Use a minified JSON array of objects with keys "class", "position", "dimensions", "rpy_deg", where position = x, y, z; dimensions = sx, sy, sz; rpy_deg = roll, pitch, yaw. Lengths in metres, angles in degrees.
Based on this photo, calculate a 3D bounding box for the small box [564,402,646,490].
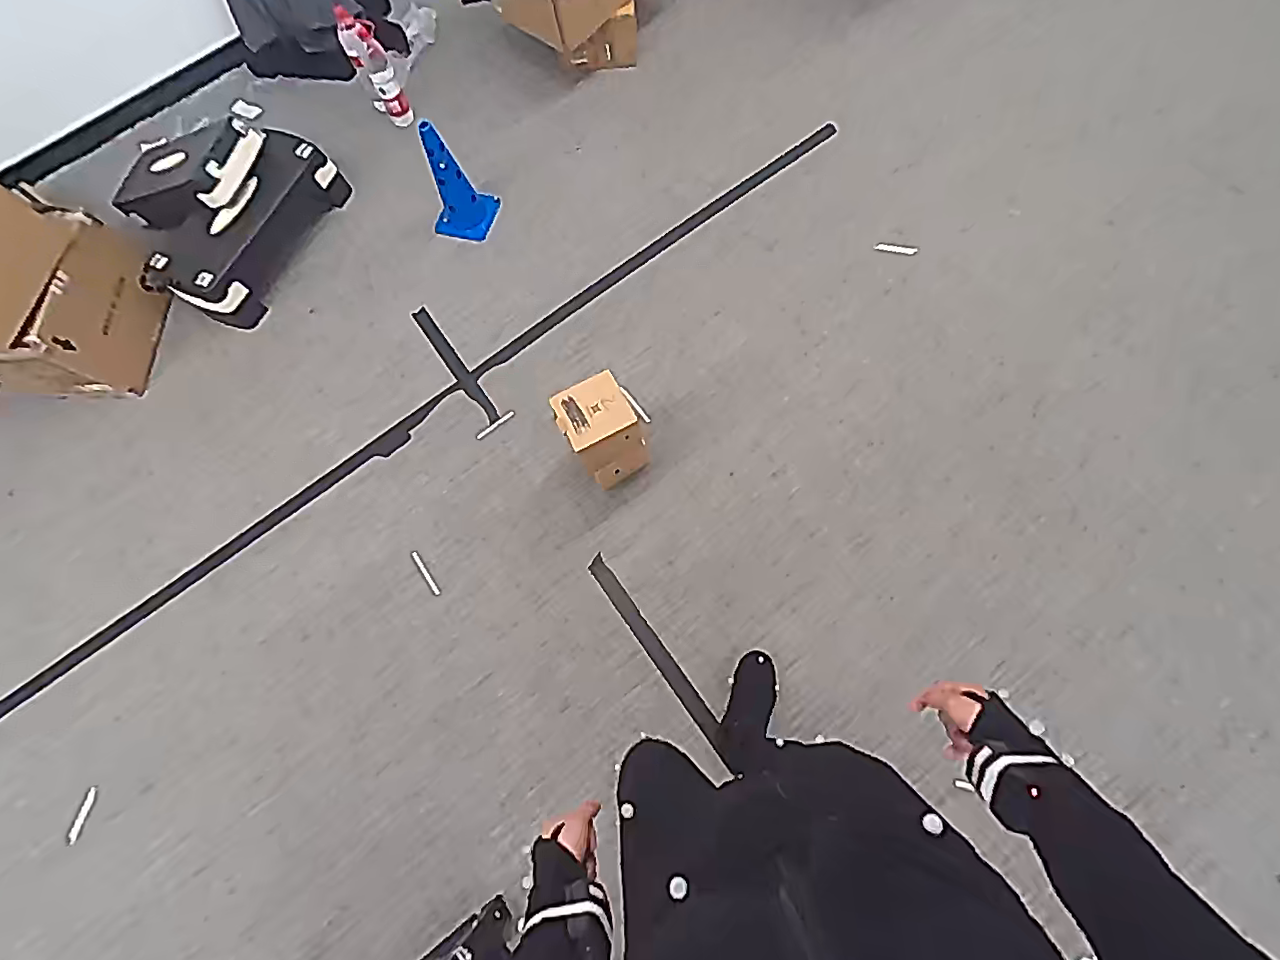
[{"class":"small box","position":[-0.095,-0.088,1.569],"dimensions":[0.168,0.176,0.179],"rpy_deg":[-33,73,-6]}]
